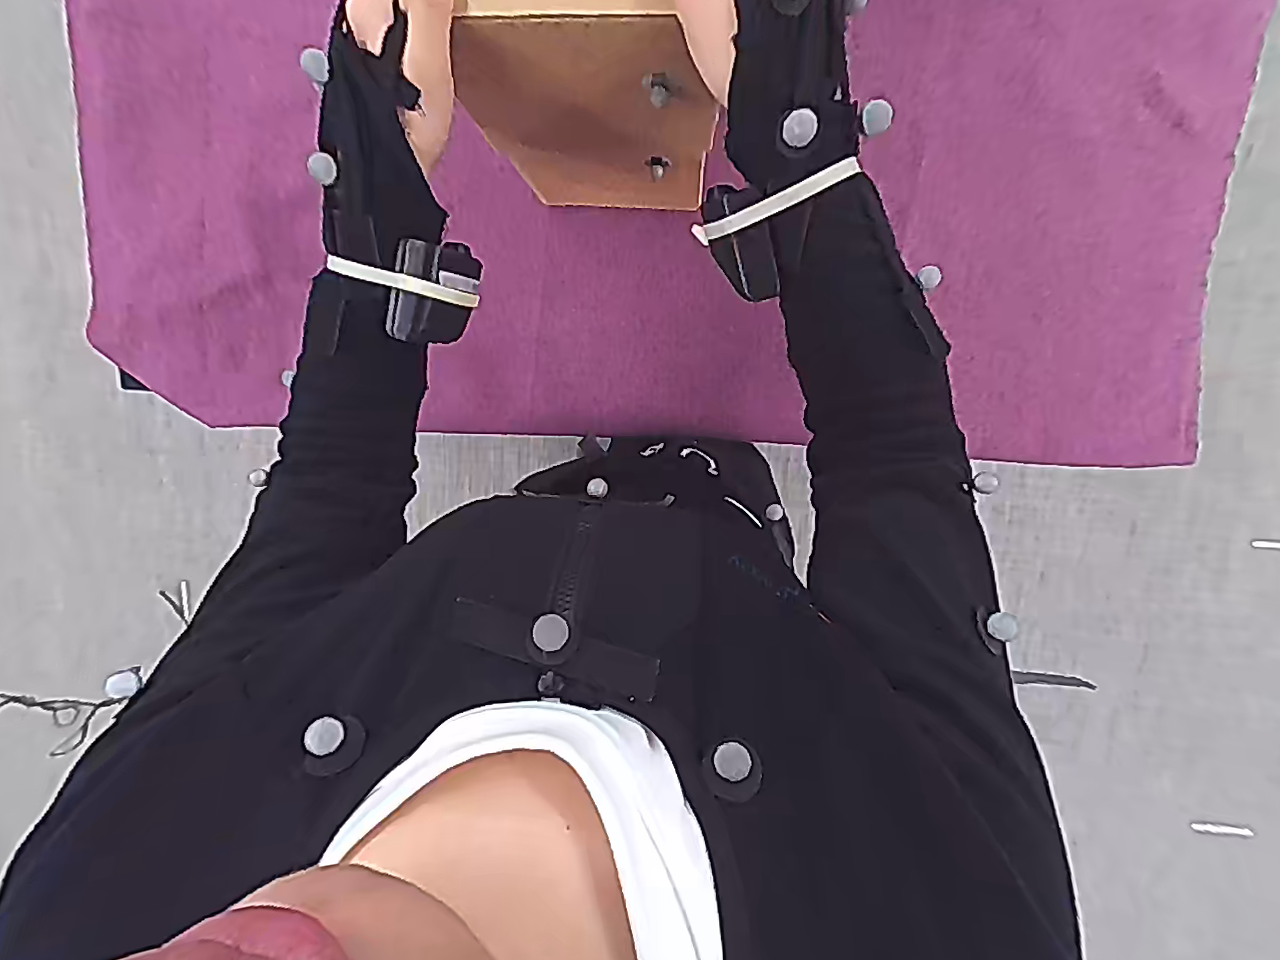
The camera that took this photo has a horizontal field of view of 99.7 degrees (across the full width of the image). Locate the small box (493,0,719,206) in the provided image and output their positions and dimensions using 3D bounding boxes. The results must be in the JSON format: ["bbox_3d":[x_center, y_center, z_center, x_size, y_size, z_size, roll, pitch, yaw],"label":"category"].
[{"bbox_3d":[-0.023,-0.365,0.495,0.179,0.176,0.168,3,100,2],"label":"small box"}]
